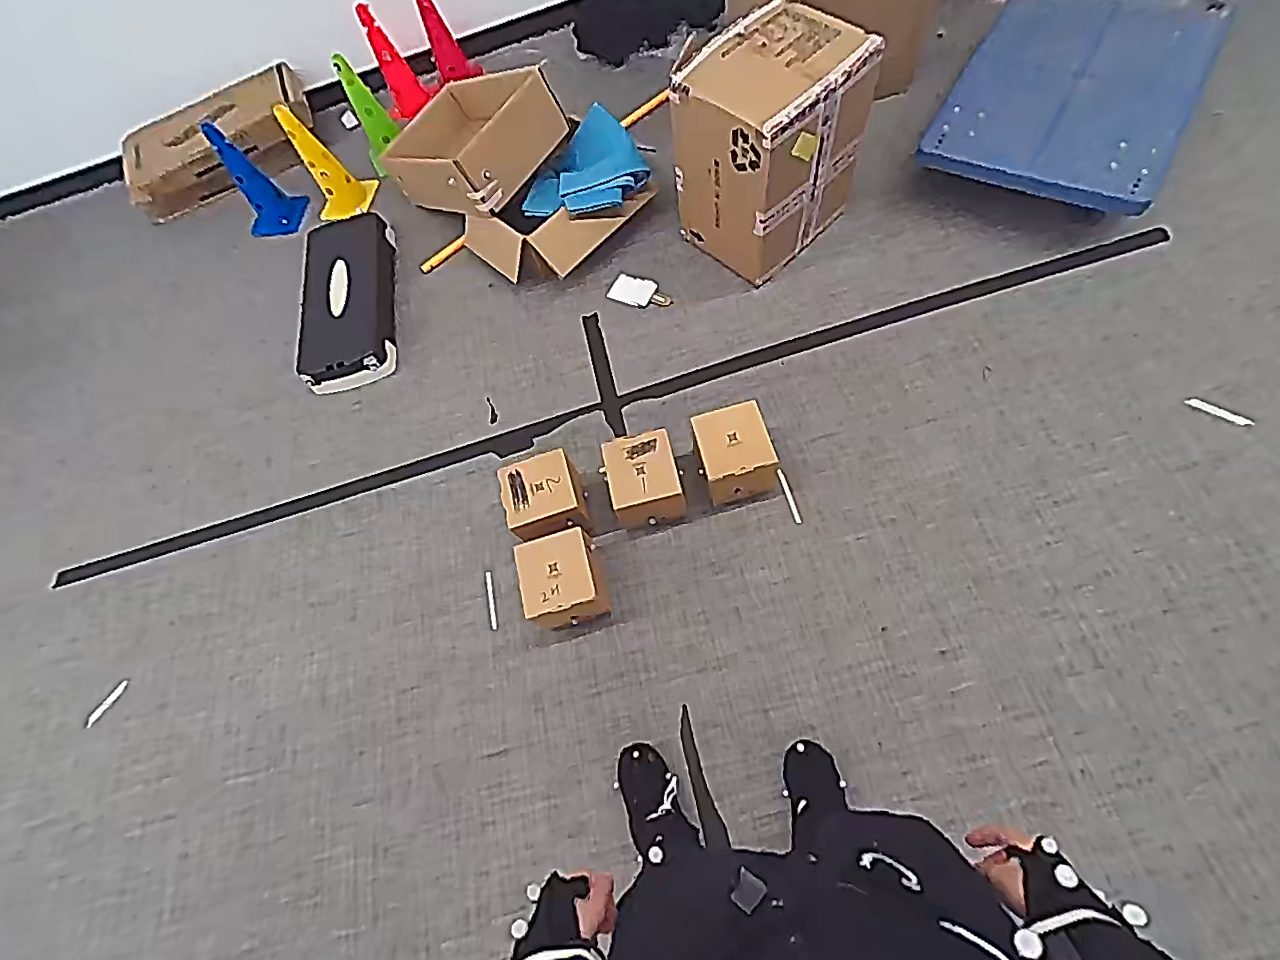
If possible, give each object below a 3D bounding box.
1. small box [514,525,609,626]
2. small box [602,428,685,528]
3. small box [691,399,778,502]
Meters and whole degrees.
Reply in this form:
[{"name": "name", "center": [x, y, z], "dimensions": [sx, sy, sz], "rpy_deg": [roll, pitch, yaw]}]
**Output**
[{"name": "small box", "center": [-0.182, 0.231, 1.278], "dimensions": [0.168, 0.176, 0.179], "rpy_deg": [-17, 66, 3]}, {"name": "small box", "center": [0.011, -0.001, 1.344], "dimensions": [0.168, 0.176, 0.179], "rpy_deg": [-14, 67, 3]}, {"name": "small box", "center": [0.228, -0.068, 1.340], "dimensions": [0.168, 0.176, 0.179], "rpy_deg": [-16, 66, 2]}]
